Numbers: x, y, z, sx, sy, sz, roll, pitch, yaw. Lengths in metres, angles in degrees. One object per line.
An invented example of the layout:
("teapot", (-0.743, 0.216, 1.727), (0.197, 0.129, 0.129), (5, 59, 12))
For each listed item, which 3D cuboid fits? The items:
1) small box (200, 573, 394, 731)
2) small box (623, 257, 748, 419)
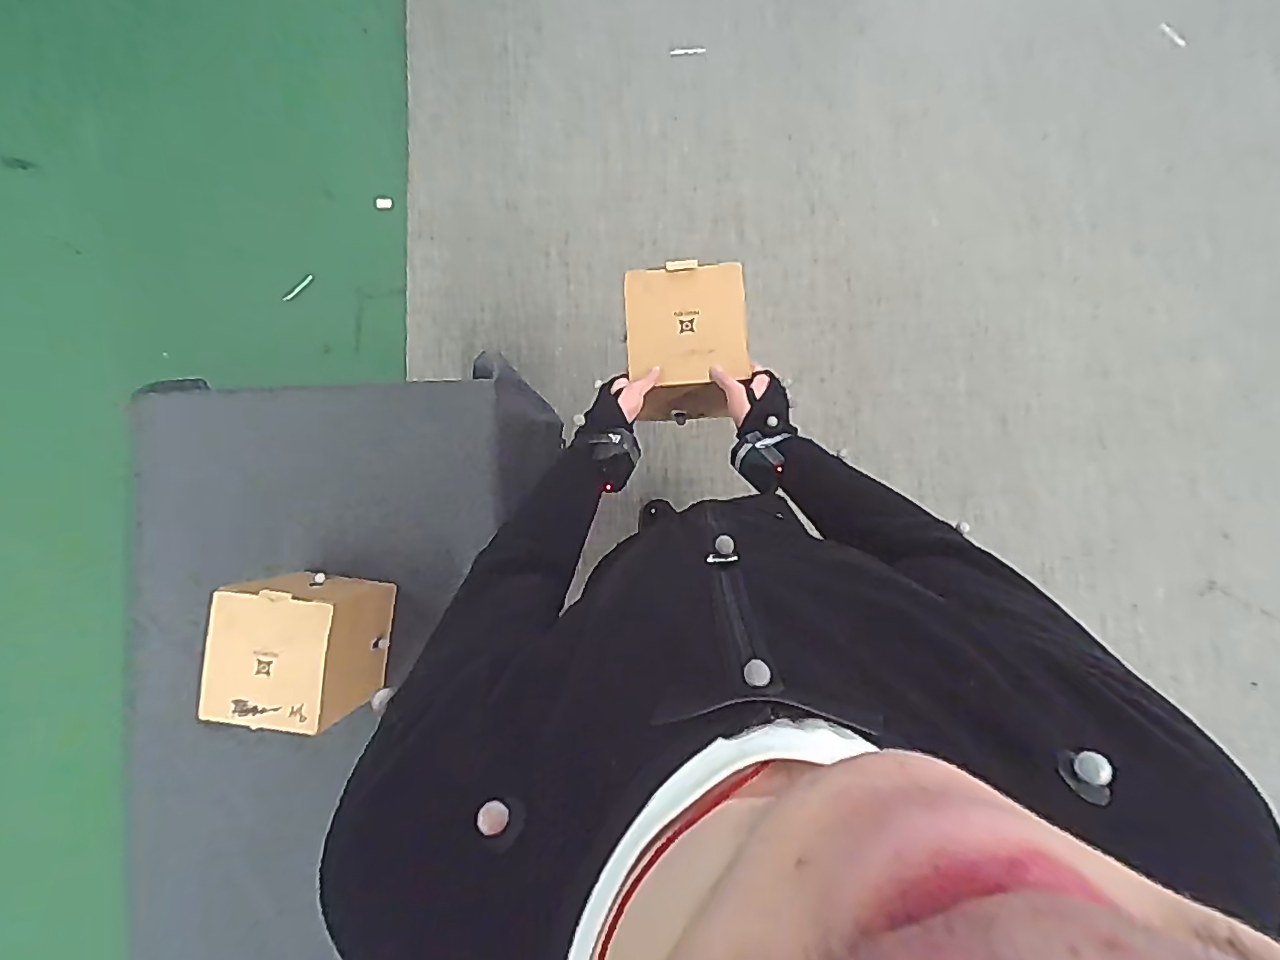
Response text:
("small box", (-0.486, 0.237, 0.793), (0.168, 0.176, 0.179), (7, 87, 3))
("small box", (0.064, -0.200, 0.795), (0.168, 0.176, 0.179), (-1, 79, 4))
